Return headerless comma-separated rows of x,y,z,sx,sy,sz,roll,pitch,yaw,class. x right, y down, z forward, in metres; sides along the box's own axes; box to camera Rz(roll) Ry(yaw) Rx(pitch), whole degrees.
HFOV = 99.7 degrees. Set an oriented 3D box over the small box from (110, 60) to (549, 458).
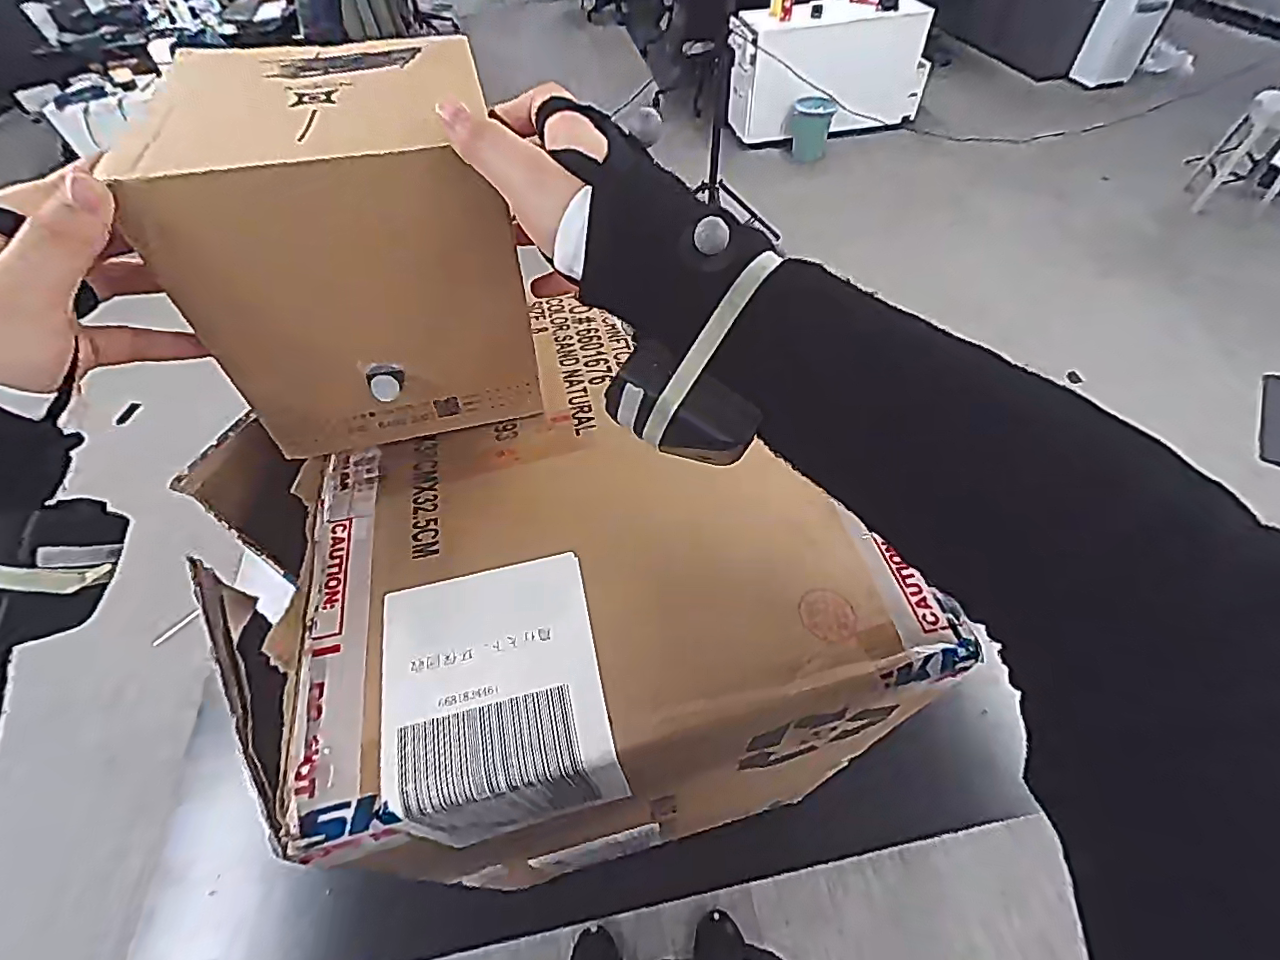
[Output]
-0.160,-0.141,0.346,0.168,0.176,0.179,-12,51,-10,small box
